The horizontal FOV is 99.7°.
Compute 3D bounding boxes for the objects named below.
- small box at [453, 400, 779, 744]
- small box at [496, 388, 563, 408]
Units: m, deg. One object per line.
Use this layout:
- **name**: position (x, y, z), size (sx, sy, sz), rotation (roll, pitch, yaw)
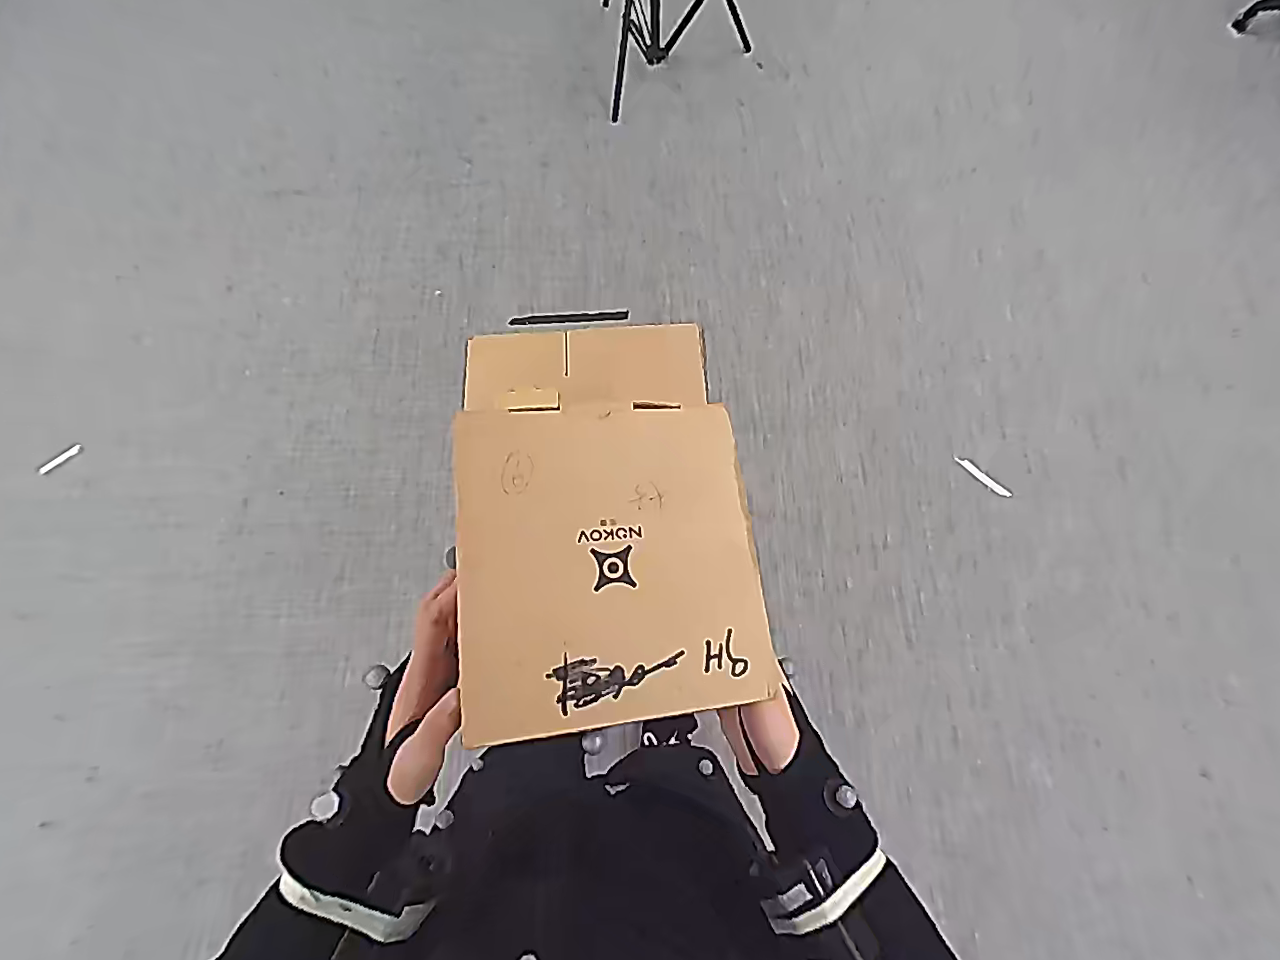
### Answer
- **small box**: position (-0.030, 0.062, 0.367), size (0.168, 0.176, 0.179), rotation (-4, 73, -12)
- **small box**: position (-0.279, -0.124, 1.436), size (0.168, 0.176, 0.179), rotation (-5, 72, 0)
